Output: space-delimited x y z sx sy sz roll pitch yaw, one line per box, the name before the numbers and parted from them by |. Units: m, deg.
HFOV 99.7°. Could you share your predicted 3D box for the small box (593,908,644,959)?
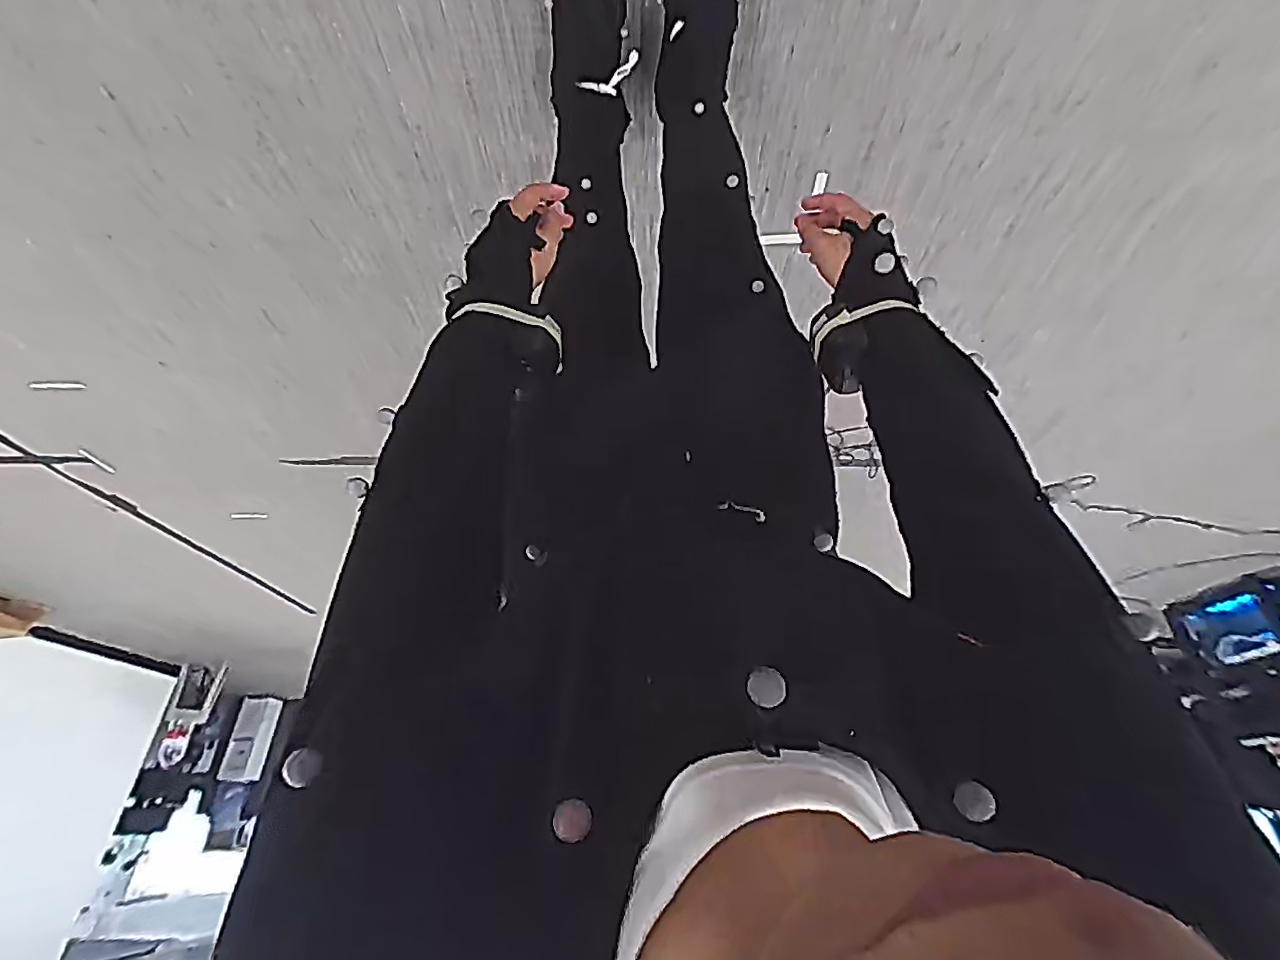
small box | -0.077 1.676 1.971 0.179 0.176 0.168 -3 149 1
